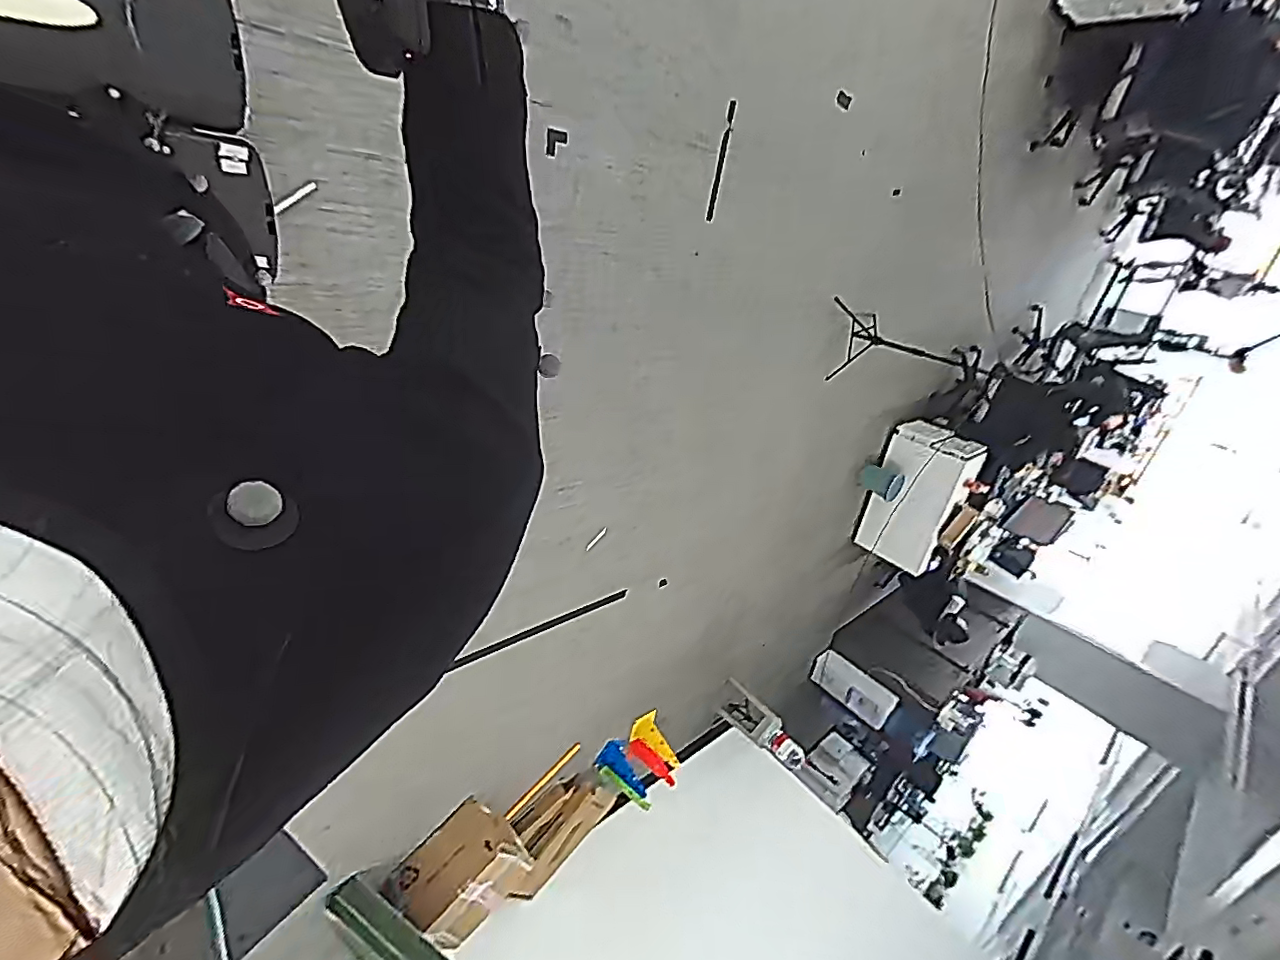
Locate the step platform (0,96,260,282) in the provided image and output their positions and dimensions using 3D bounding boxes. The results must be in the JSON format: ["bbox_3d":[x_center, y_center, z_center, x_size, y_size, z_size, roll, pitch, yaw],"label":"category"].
[{"bbox_3d":[-1.097,-0.519,0.968,0.684,0.204,0.286,-14,124,-37],"label":"step platform"}]
